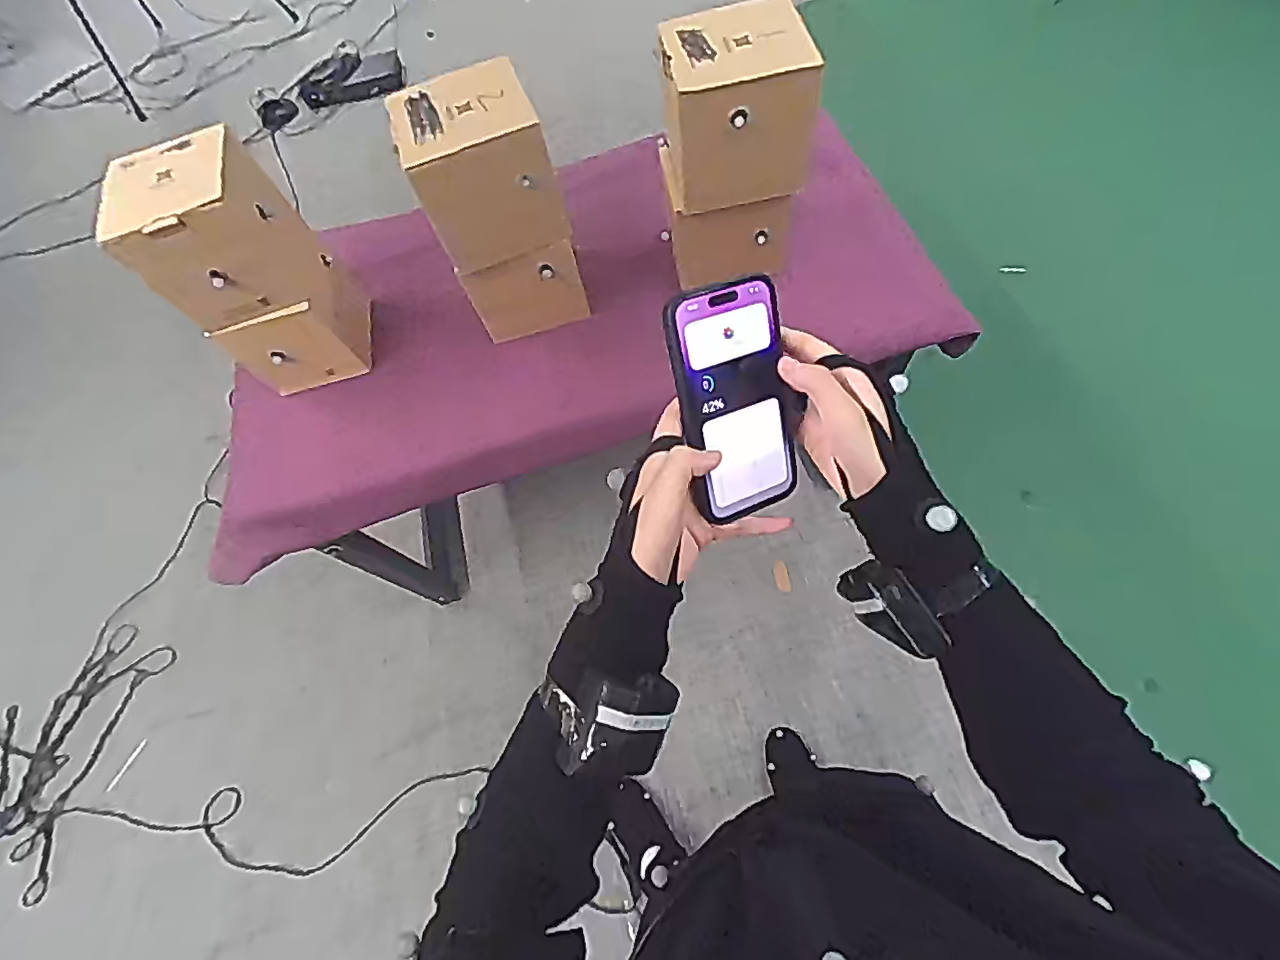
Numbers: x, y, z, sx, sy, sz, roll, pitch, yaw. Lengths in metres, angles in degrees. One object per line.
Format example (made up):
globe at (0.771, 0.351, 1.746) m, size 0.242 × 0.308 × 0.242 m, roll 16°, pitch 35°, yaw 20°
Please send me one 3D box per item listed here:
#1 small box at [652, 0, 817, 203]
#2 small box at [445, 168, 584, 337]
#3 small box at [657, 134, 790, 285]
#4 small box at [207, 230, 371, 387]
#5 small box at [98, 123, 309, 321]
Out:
small box at (0.121, -0.509, 0.732) m, size 0.179 × 0.176 × 0.168 m, roll -11°, pitch 64°, yaw 3°
small box at (-0.198, -0.369, 0.897) m, size 0.179 × 0.176 × 0.168 m, roll -16°, pitch 64°, yaw 1°
small box at (0.132, -0.451, 0.886) m, size 0.179 × 0.176 × 0.168 m, roll -11°, pitch 64°, yaw 5°
small box at (-0.578, -0.277, 0.914) m, size 0.168 × 0.176 × 0.179 m, roll -16°, pitch 64°, yaw 1°
small box at (-0.603, -0.352, 0.770) m, size 0.168 × 0.176 × 0.179 m, roll -20°, pitch 65°, yaw -2°
